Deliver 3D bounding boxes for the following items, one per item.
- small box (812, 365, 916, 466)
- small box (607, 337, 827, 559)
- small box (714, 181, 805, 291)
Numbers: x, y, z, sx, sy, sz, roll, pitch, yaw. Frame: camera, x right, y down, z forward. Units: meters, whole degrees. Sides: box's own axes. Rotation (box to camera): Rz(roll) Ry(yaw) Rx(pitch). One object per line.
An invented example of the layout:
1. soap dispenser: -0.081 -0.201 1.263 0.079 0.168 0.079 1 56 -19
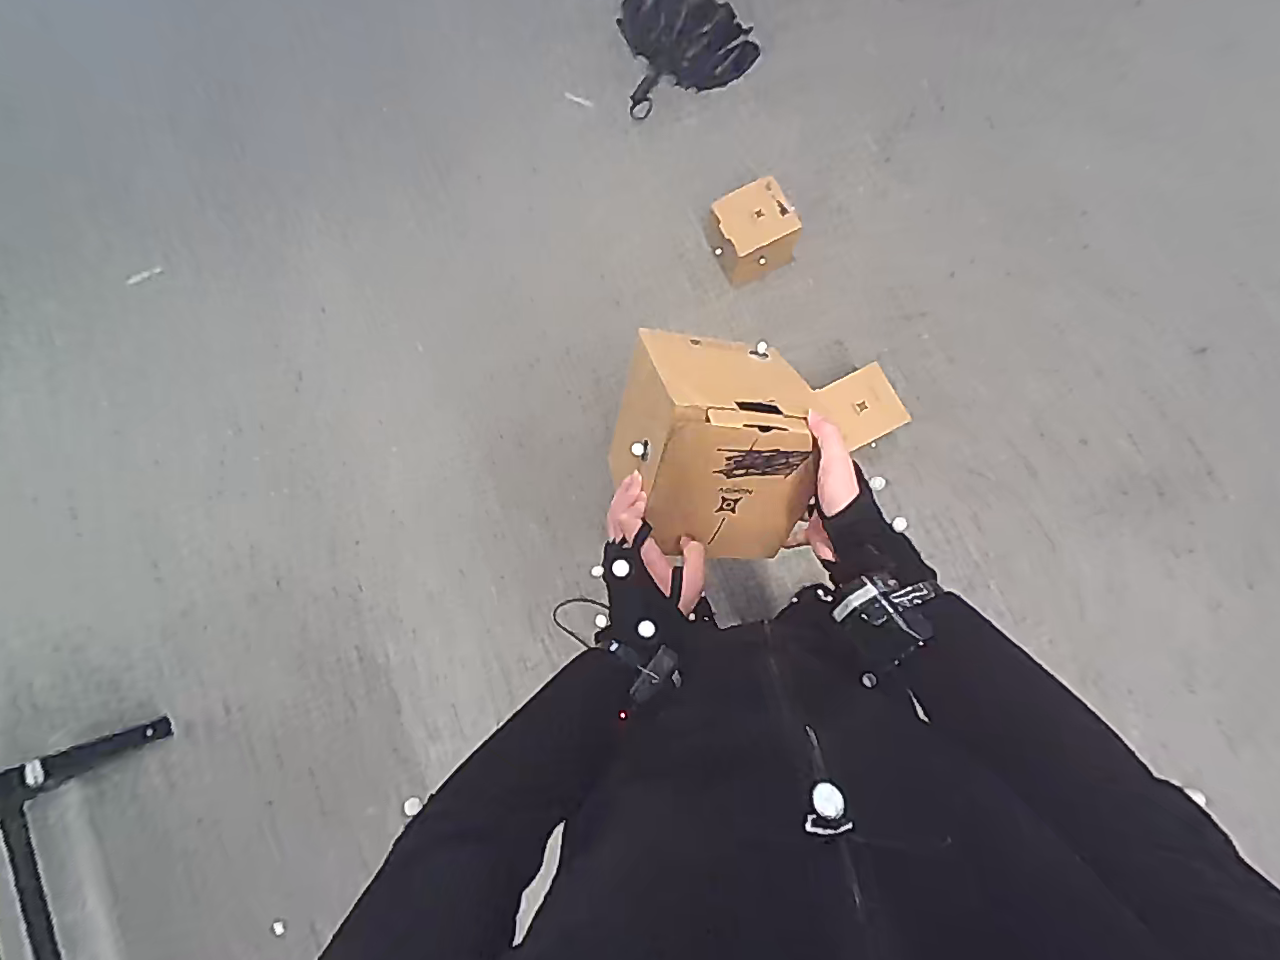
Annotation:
1. small box: 0.536 -0.151 1.340 0.179 0.176 0.168 -28 81 0
2. small box: 0.063 -0.037 0.580 0.168 0.176 0.179 4 126 -14
3. small box: 0.308 -0.635 1.430 0.179 0.176 0.168 -26 81 3
